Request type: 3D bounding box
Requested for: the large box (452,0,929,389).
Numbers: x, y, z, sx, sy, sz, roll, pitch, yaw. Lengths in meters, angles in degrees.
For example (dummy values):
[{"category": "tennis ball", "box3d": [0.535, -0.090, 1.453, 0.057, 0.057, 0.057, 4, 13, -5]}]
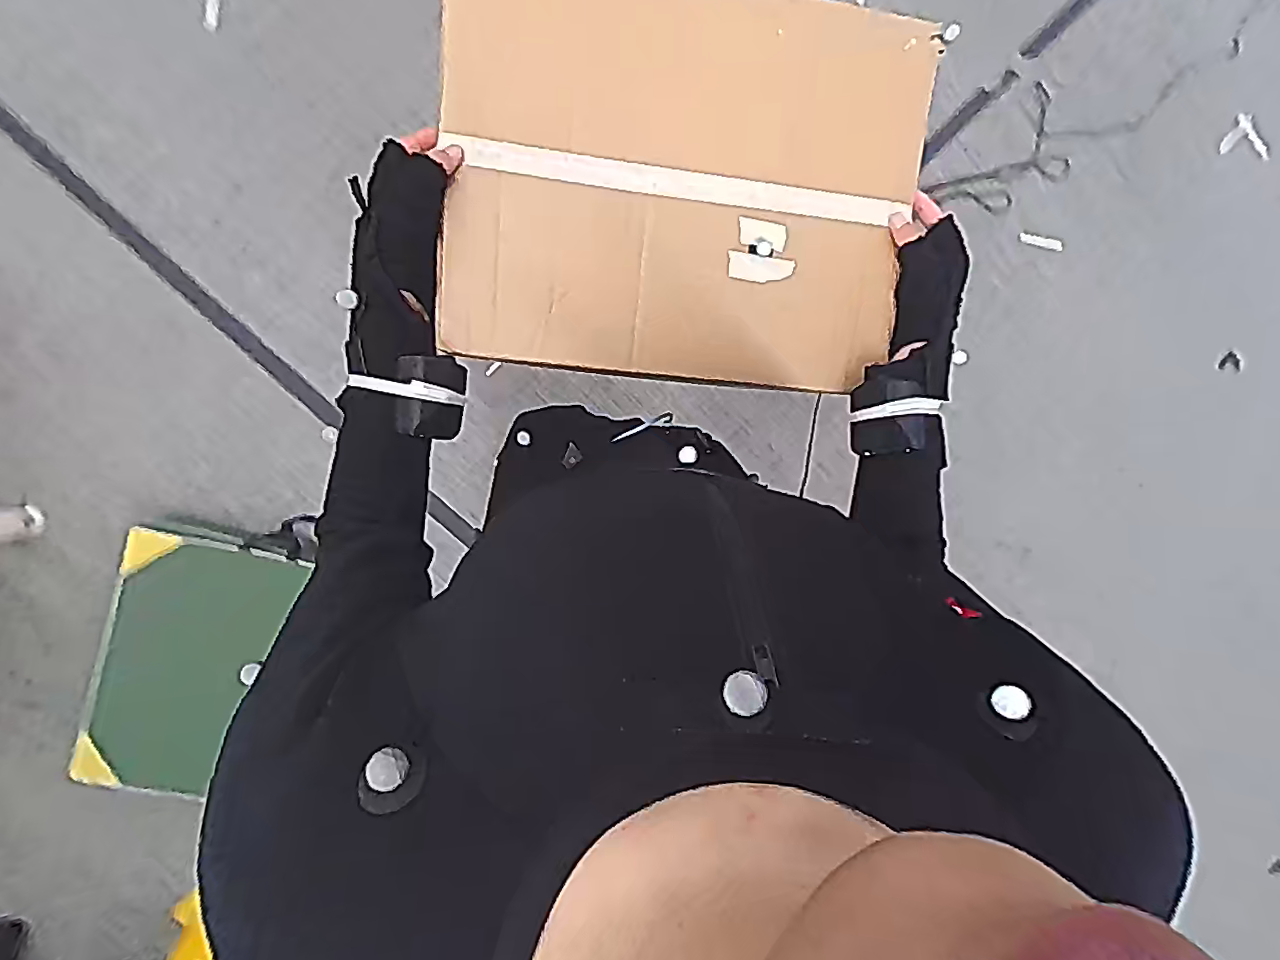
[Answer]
[{"category": "large box", "box3d": [0.022, -0.279, 0.612, 0.408, 0.320, 0.320, 5, 101, -10]}]
